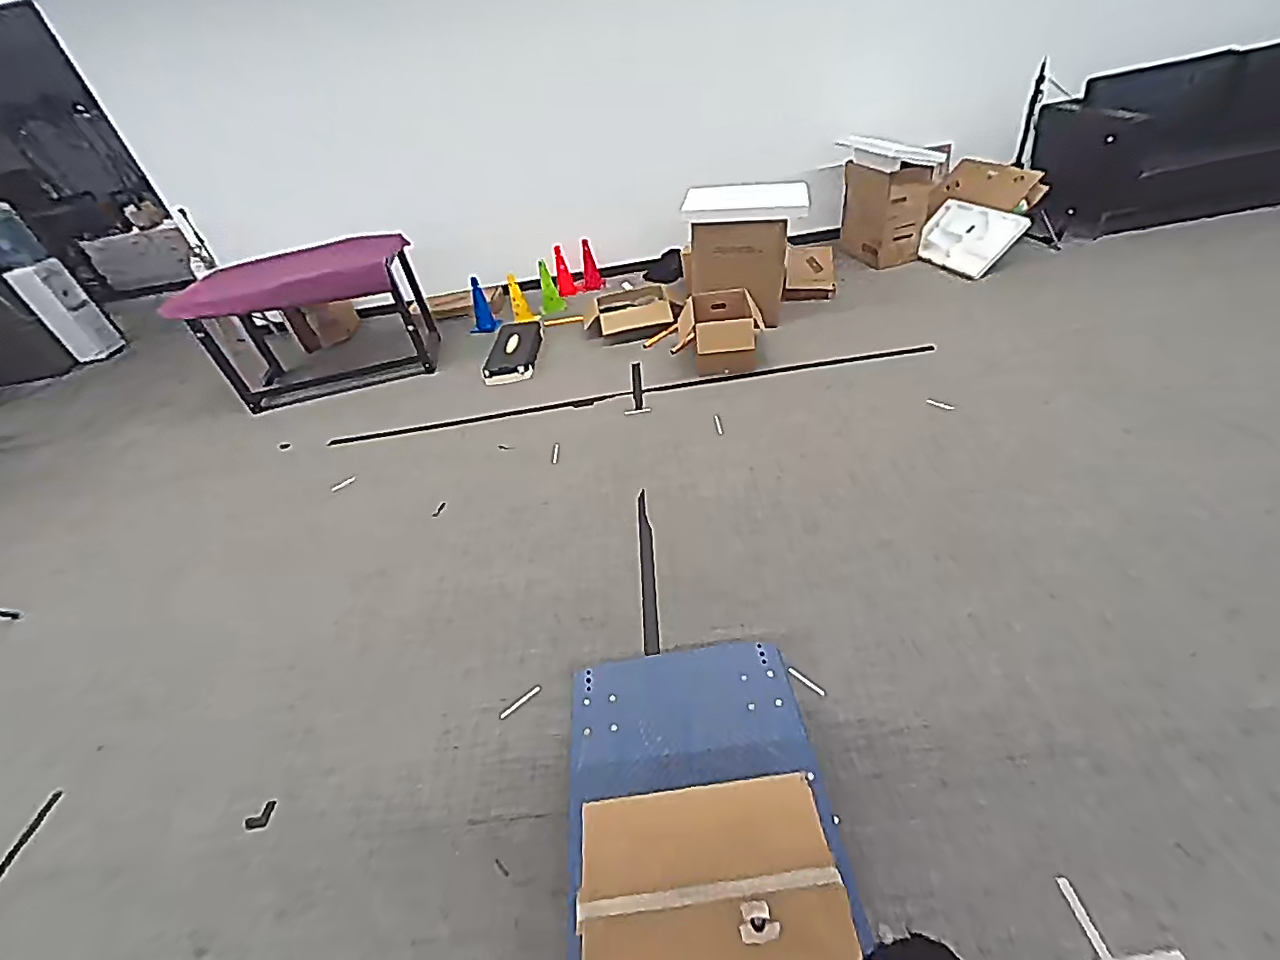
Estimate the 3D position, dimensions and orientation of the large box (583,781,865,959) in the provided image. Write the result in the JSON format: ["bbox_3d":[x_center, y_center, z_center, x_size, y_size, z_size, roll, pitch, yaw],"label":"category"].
[{"bbox_3d":[0.128,0.765,0.912,0.408,0.320,0.320,-9,39,1],"label":"large box"}]
